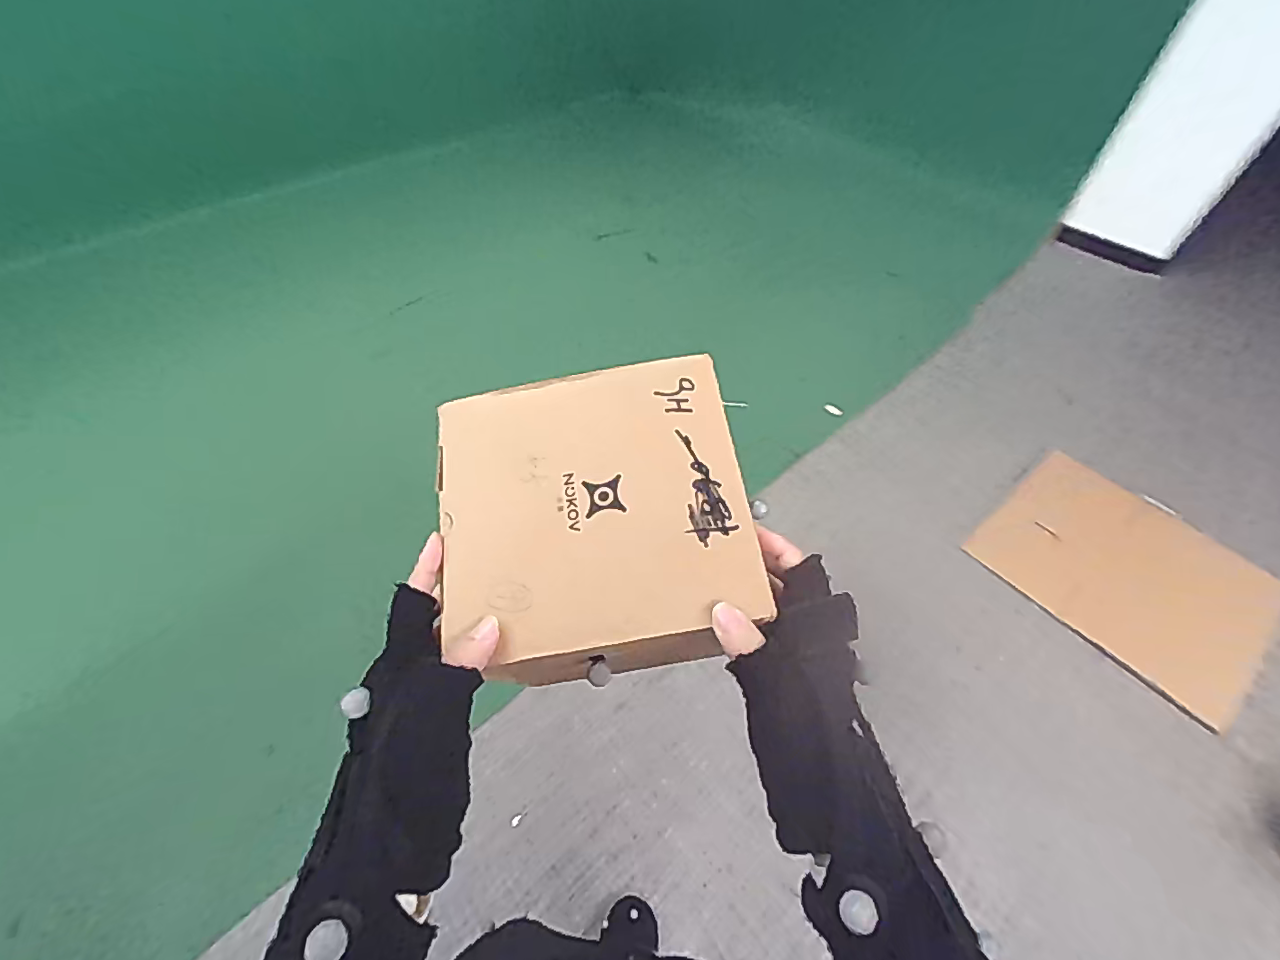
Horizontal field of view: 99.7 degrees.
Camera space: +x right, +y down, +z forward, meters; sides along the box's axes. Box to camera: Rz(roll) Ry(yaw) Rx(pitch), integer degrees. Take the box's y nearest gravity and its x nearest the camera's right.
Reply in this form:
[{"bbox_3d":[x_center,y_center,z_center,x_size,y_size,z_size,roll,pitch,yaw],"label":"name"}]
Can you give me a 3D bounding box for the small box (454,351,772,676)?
[{"bbox_3d":[-0.017,0.037,0.395,0.179,0.176,0.168,-12,64,0],"label":"small box"}]
